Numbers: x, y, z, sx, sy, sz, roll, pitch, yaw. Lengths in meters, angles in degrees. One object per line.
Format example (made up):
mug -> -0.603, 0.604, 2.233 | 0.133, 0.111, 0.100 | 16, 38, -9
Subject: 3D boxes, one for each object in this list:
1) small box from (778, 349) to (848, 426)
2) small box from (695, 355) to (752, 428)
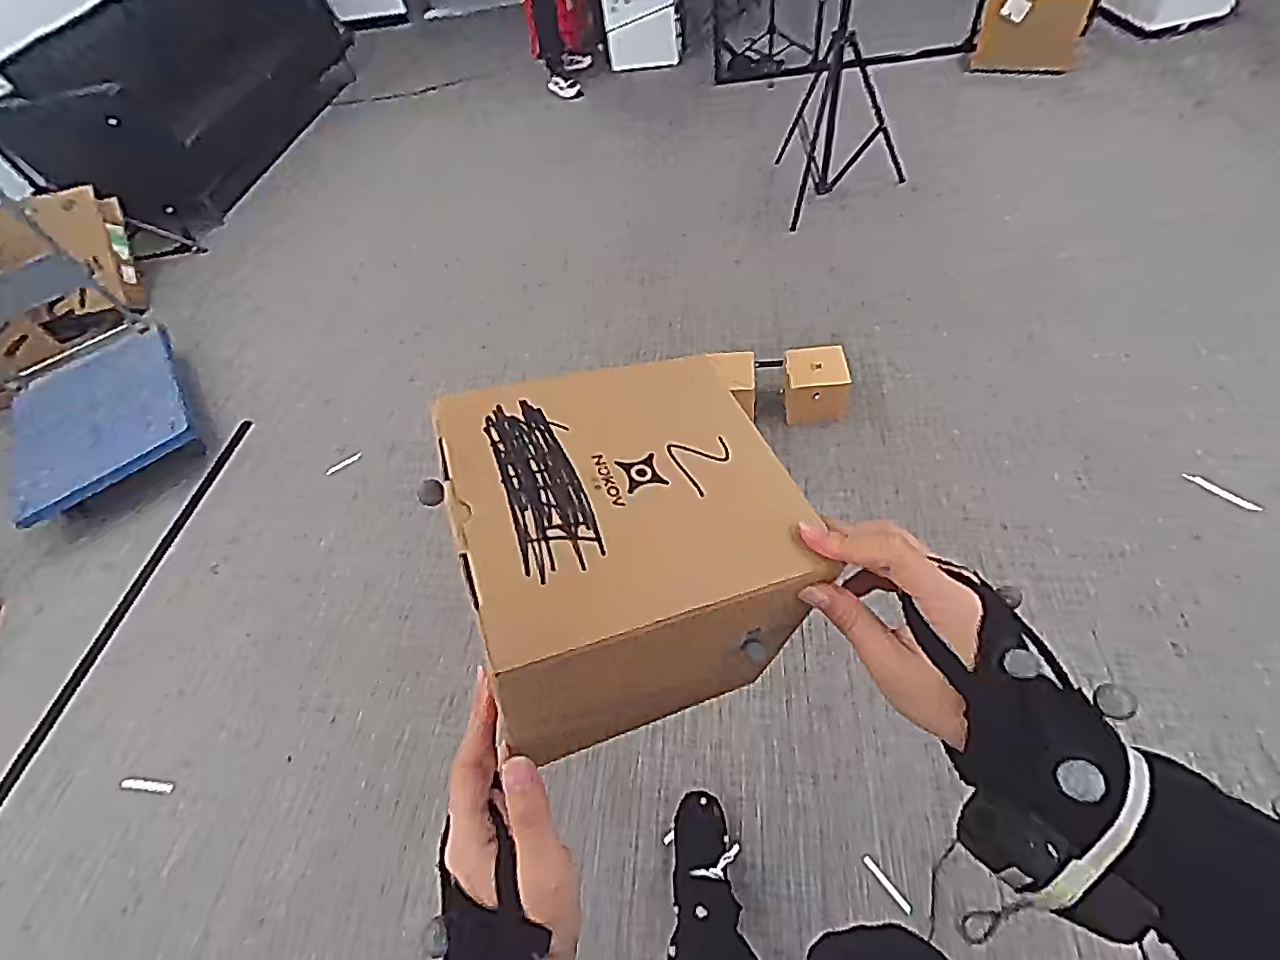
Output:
small box -> 0.539, -0.289, 1.706 | 0.179, 0.176, 0.168 | -4, 54, 7
small box -> 0.272, -0.286, 1.746 | 0.179, 0.176, 0.168 | 0, 55, 10
